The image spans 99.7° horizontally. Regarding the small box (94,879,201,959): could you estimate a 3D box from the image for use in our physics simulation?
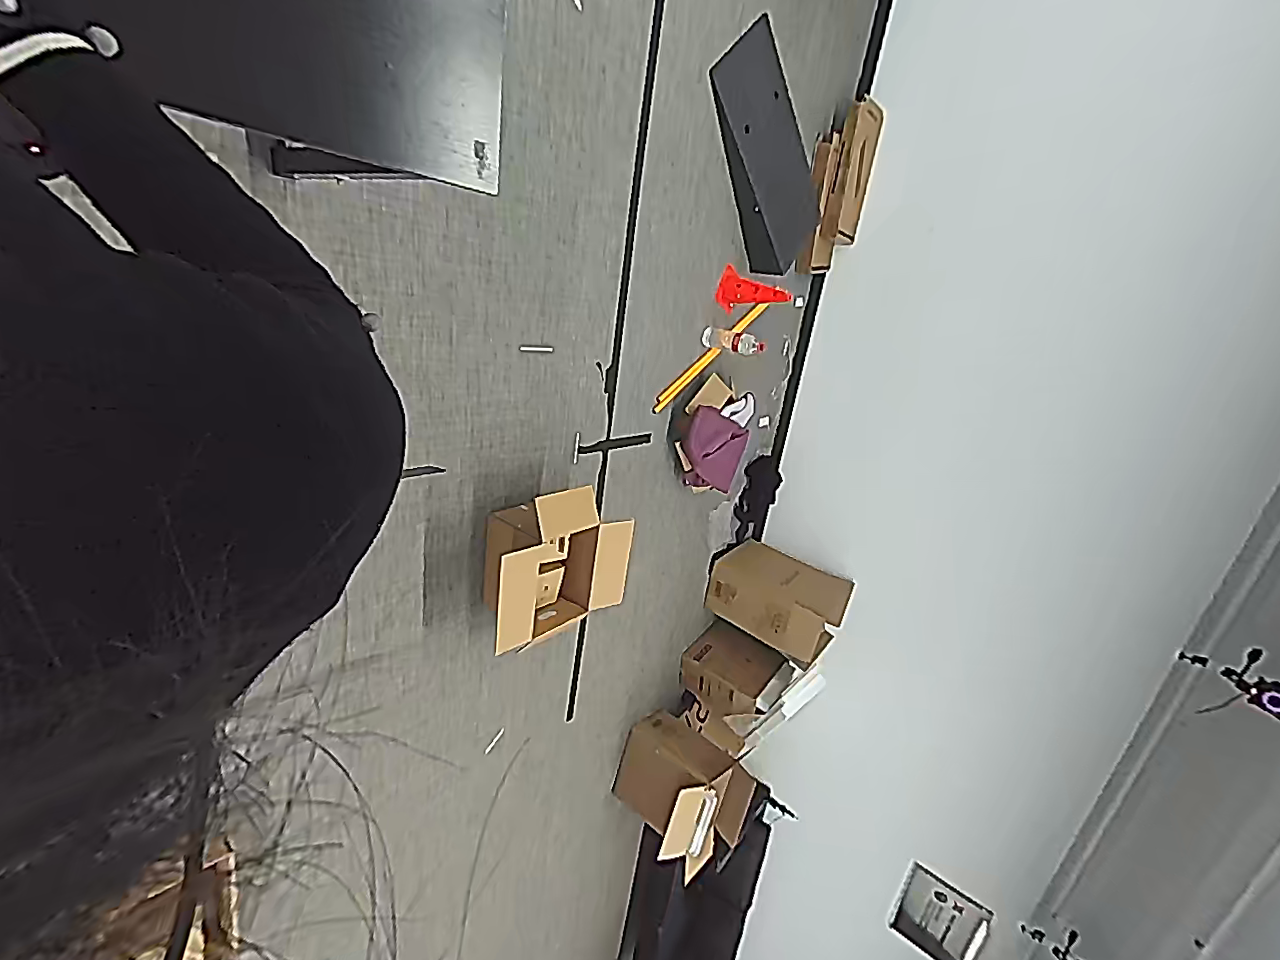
[{"bbox_3d":[-1.293,1.214,1.423,0.179,0.176,0.168,-10,114,-51],"label":"small box"}]
